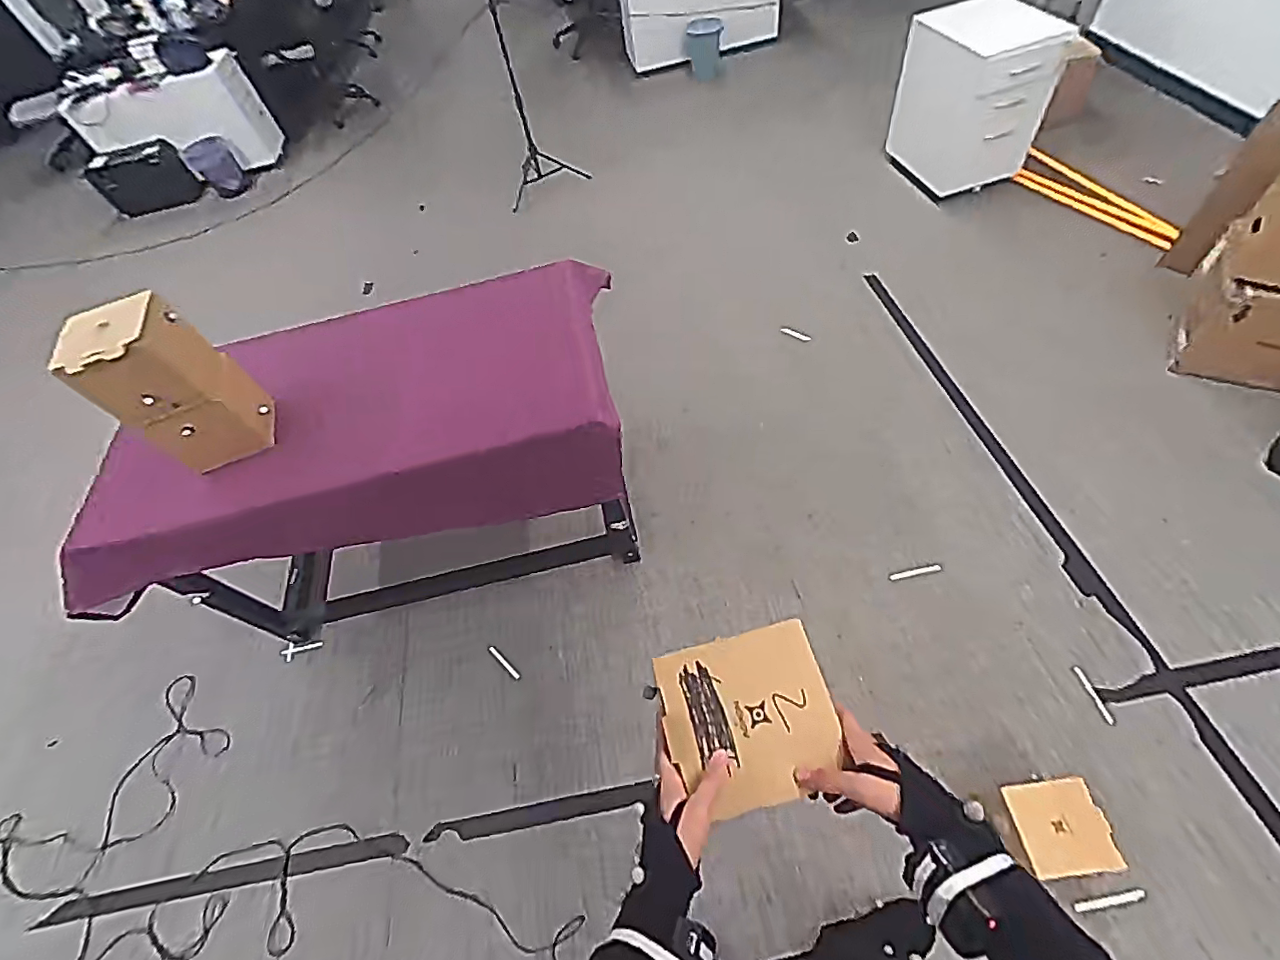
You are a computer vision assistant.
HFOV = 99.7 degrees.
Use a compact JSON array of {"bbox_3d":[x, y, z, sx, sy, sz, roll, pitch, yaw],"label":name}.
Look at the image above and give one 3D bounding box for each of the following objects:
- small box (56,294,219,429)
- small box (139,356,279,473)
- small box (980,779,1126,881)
[{"bbox_3d":[-0.996,-0.236,1.093,0.168,0.176,0.179,-23,56,-5],"label":"small box"},{"bbox_3d":[-0.963,-0.143,1.225,0.179,0.176,0.168,-22,56,-6],"label":"small box"},{"bbox_3d":[0.883,0.767,1.185,0.179,0.176,0.168,-10,56,3],"label":"small box"}]
